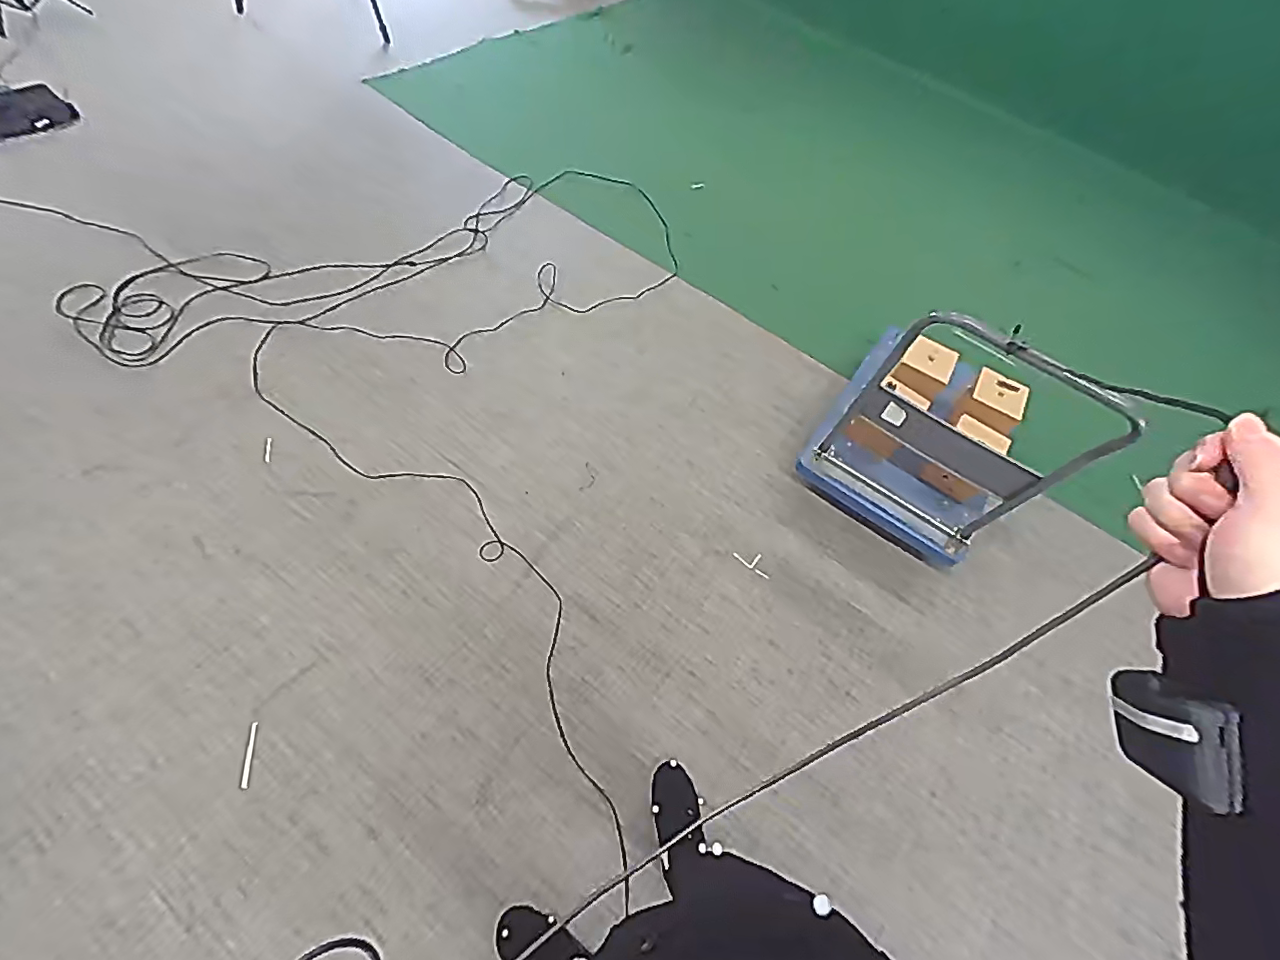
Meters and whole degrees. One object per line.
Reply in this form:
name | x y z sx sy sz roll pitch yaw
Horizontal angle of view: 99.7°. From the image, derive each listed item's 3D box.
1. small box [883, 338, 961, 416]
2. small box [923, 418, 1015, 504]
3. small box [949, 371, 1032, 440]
small box | 0.988 -0.360 1.908 0.168 0.176 0.179 31 59 10
small box | 1.044 -0.058 1.728 0.168 0.176 0.179 35 61 13
small box | 1.201 -0.234 1.860 0.168 0.176 0.179 31 60 12
